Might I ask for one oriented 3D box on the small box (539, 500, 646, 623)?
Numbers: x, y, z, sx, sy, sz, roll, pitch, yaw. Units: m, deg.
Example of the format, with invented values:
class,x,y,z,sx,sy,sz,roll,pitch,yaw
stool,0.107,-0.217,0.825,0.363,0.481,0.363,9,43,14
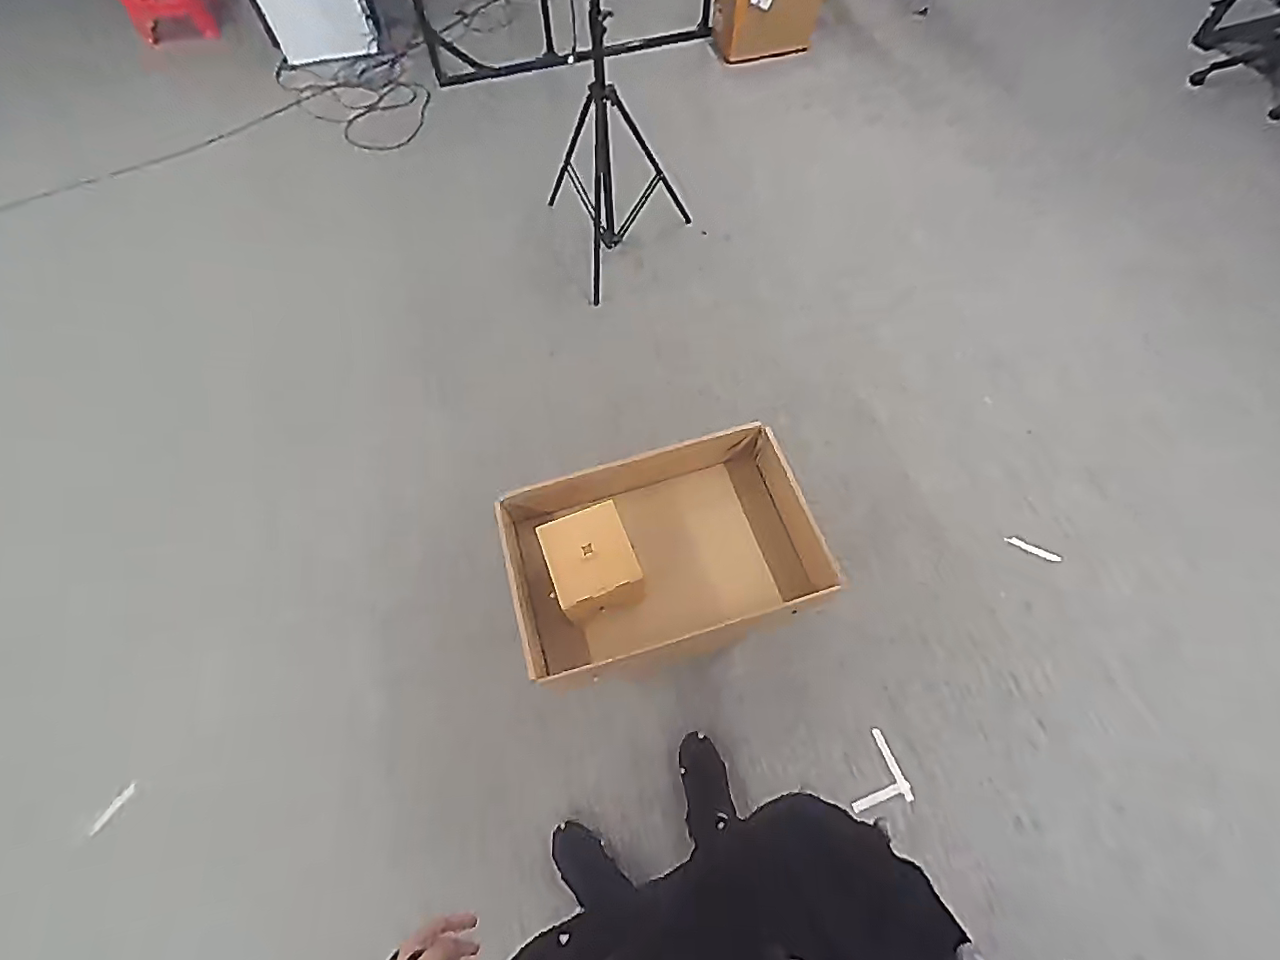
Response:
class,x,y,z,sx,sy,sz,roll,pitch,yaw
small box,-0.094,0.173,1.115,0.168,0.176,0.179,-21,66,-8
